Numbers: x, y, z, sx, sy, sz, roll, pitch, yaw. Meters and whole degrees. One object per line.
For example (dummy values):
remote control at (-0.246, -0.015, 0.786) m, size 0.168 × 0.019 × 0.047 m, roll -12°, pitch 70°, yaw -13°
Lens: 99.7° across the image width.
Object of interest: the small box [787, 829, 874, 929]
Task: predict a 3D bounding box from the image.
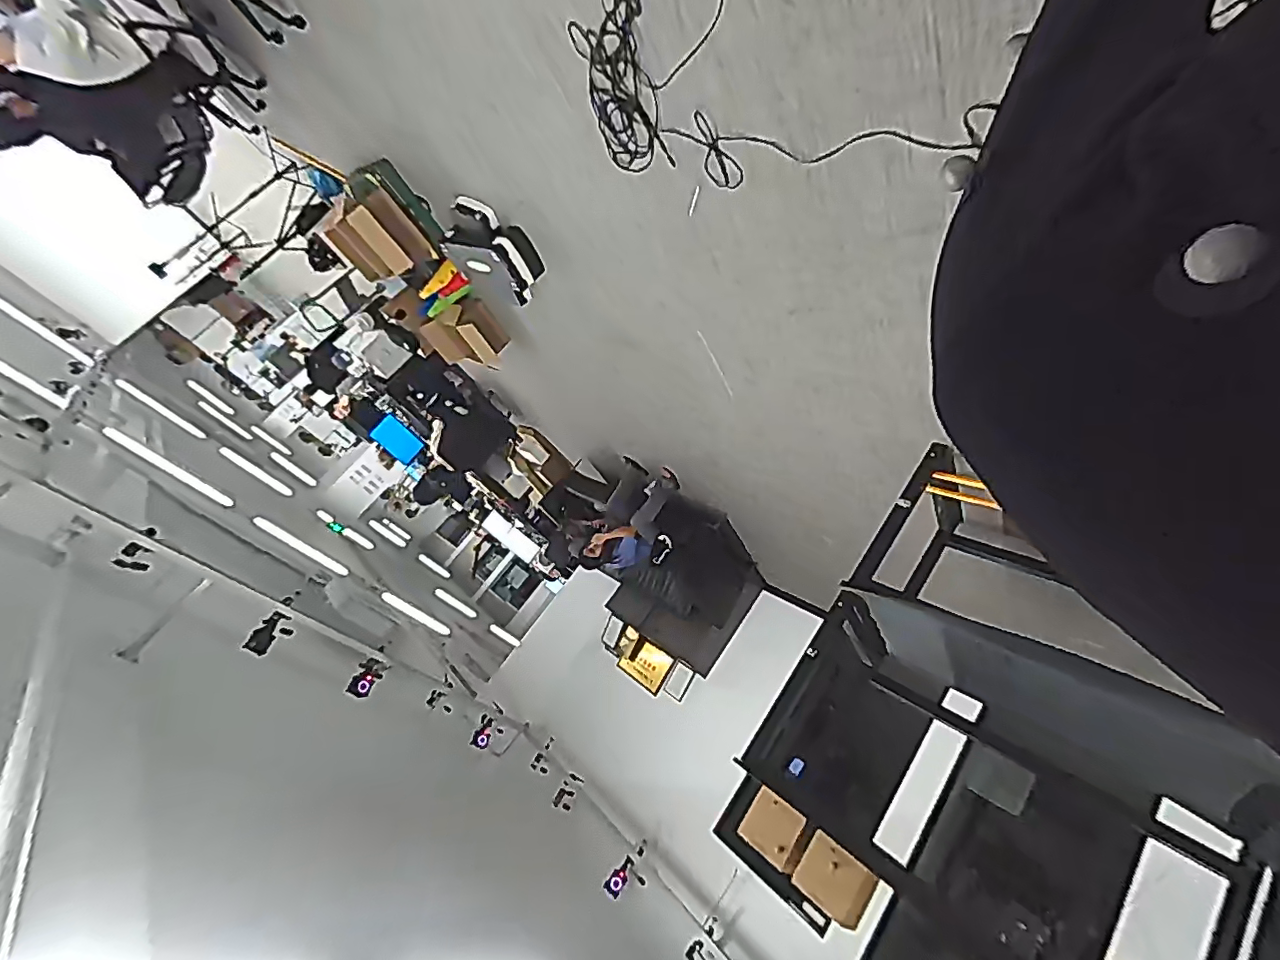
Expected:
small box at (0.572, 1.184, 1.611) m, size 0.168 × 0.176 × 0.179 m, roll 21°, pitch 156°, yaw 46°
